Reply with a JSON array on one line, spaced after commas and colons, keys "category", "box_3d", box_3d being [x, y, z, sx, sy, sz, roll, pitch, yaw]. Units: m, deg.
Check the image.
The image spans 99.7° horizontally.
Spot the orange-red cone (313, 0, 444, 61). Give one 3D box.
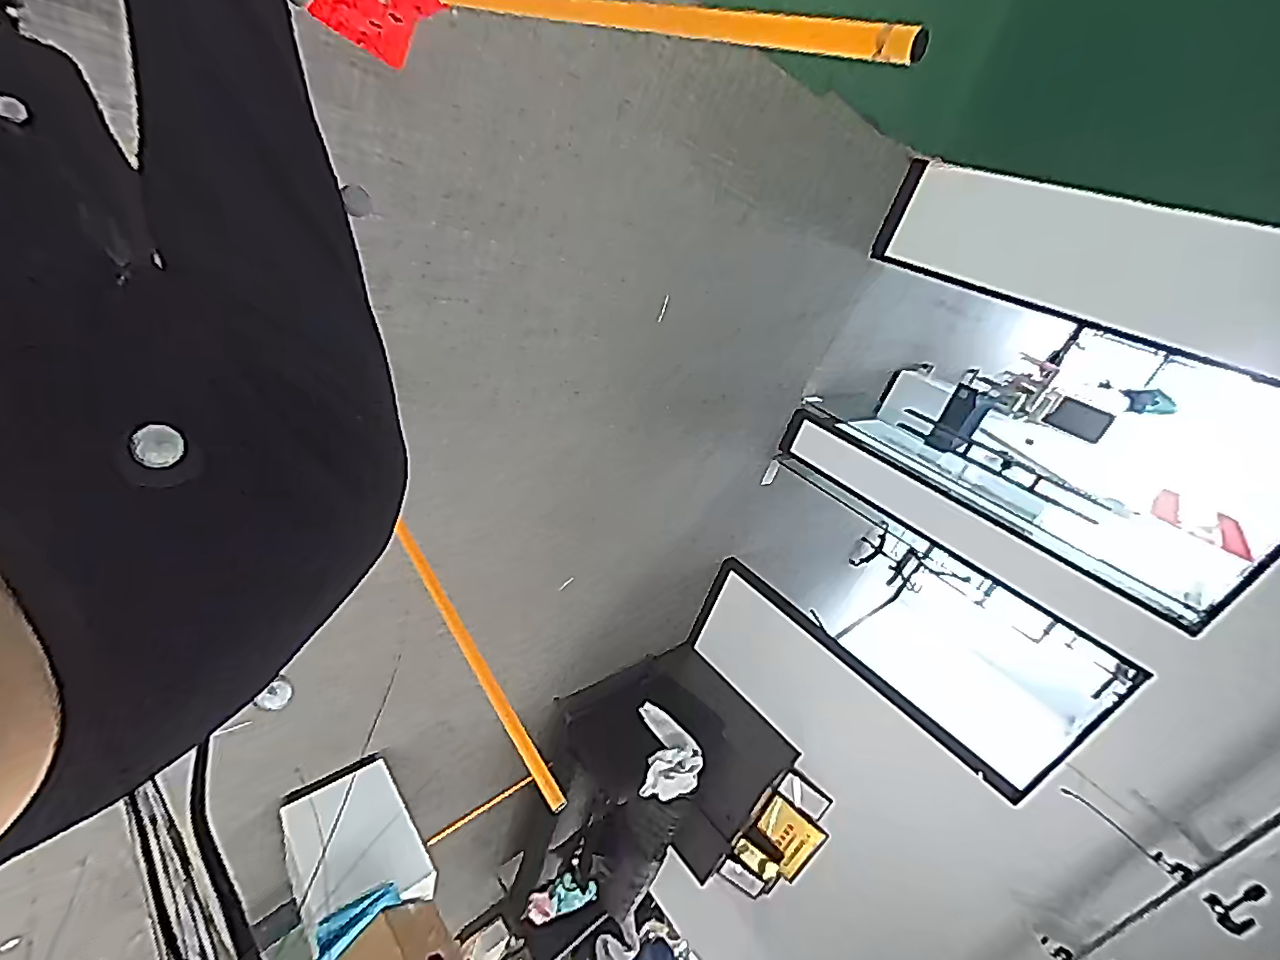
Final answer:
[{"category": "orange-red cone", "box_3d": [-0.436, -0.913, 0.997, 0.198, 0.360, 0.199, 6, 118, -50]}]
